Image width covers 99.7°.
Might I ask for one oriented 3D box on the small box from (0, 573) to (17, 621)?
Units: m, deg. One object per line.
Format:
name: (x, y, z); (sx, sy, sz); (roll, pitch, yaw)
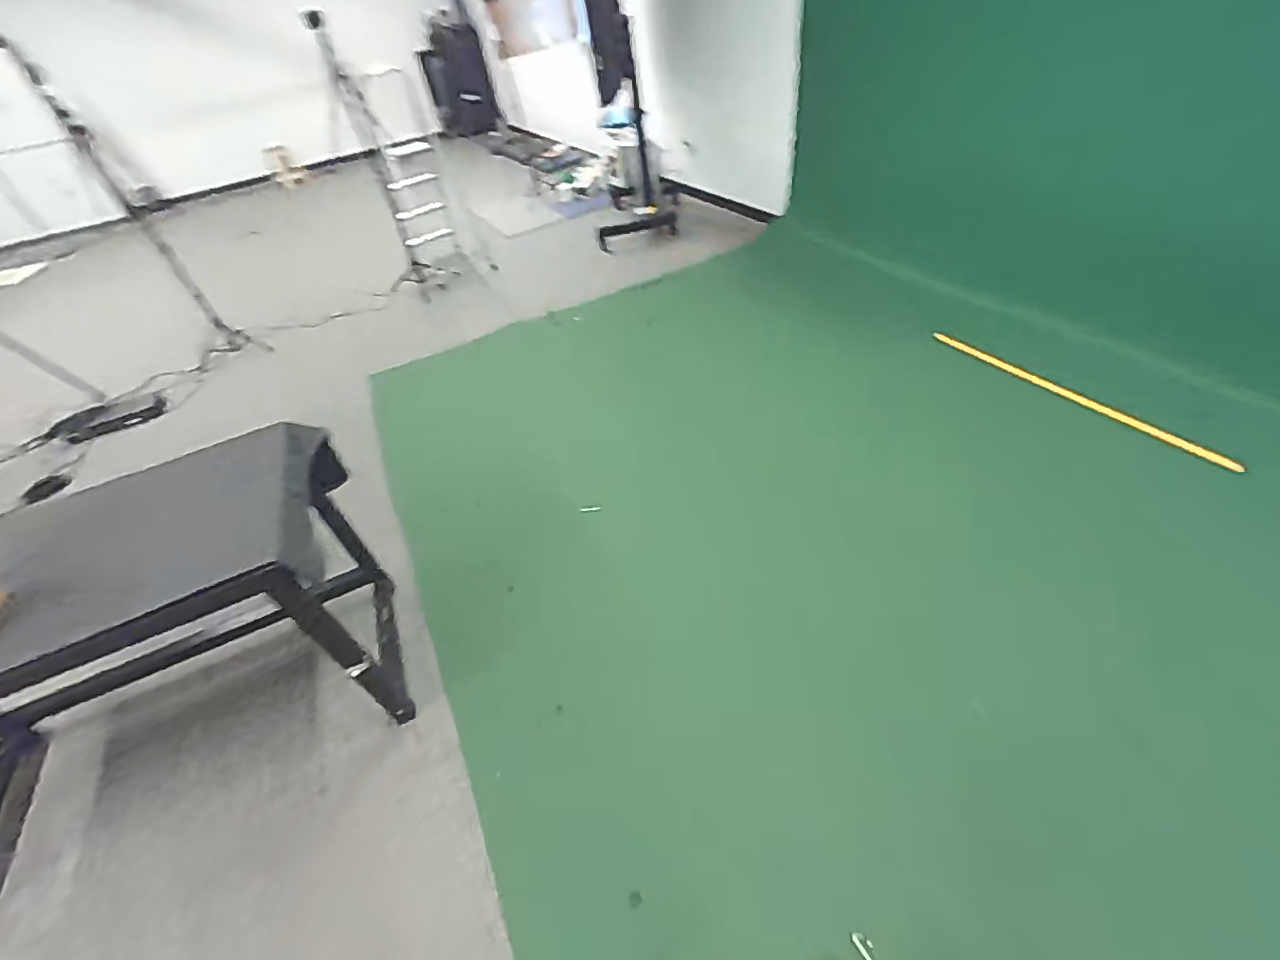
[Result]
small box: (-1.388, 0.246, 1.041); (0.168, 0.176, 0.179); (-23, 43, -12)
